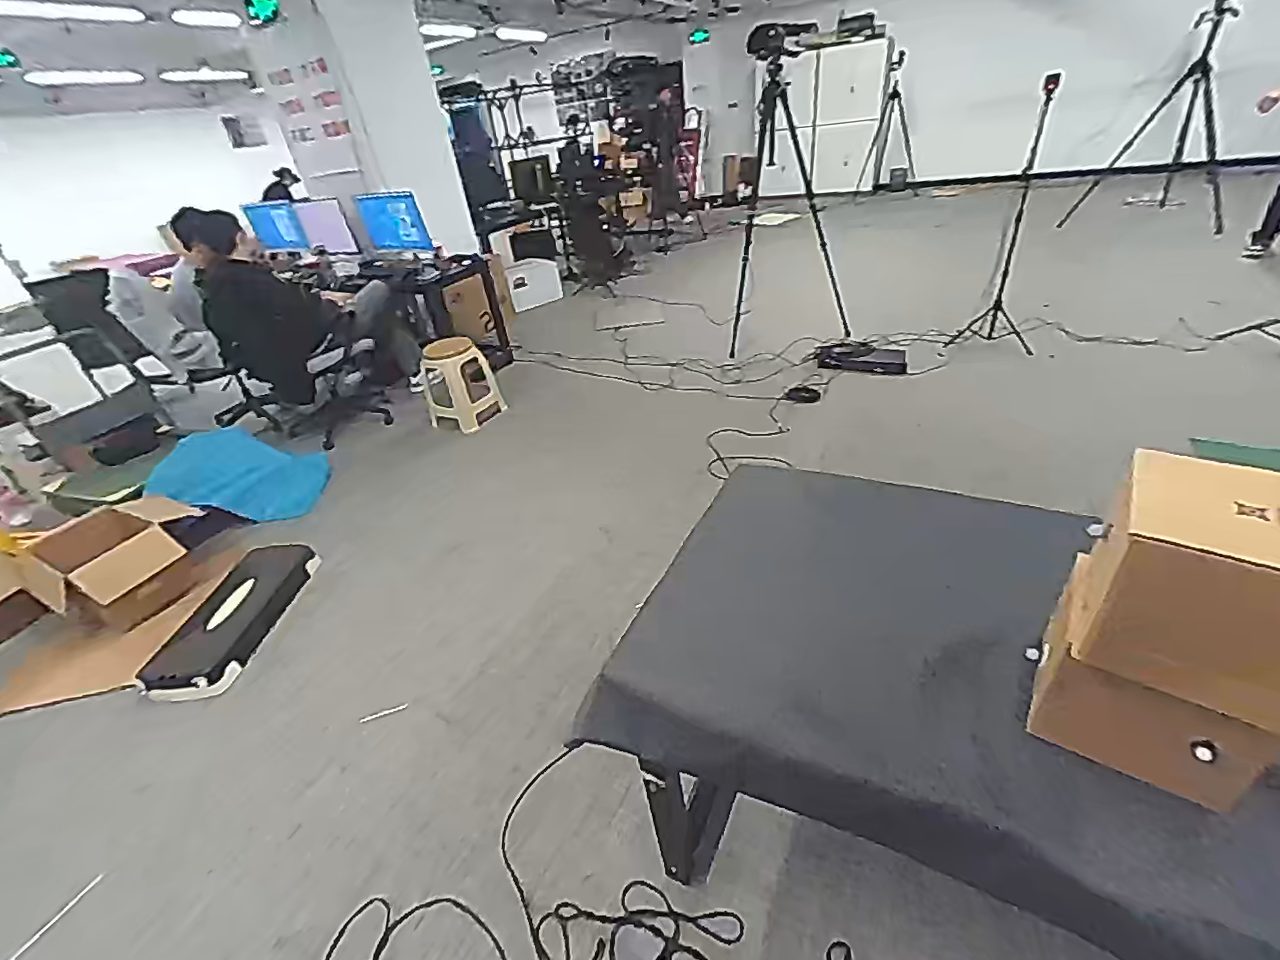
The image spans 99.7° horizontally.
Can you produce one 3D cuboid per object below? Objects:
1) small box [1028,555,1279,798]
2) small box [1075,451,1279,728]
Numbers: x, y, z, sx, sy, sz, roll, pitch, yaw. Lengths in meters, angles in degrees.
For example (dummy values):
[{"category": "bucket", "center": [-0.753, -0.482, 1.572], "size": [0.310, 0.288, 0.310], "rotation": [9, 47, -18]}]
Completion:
[{"category": "small box", "center": [0.577, 0.221, 0.617], "size": [0.179, 0.176, 0.168], "rotation": [16, 40, 34]}, {"category": "small box", "center": [0.548, 0.097, 0.513], "size": [0.179, 0.176, 0.168], "rotation": [19, 41, 34]}]
